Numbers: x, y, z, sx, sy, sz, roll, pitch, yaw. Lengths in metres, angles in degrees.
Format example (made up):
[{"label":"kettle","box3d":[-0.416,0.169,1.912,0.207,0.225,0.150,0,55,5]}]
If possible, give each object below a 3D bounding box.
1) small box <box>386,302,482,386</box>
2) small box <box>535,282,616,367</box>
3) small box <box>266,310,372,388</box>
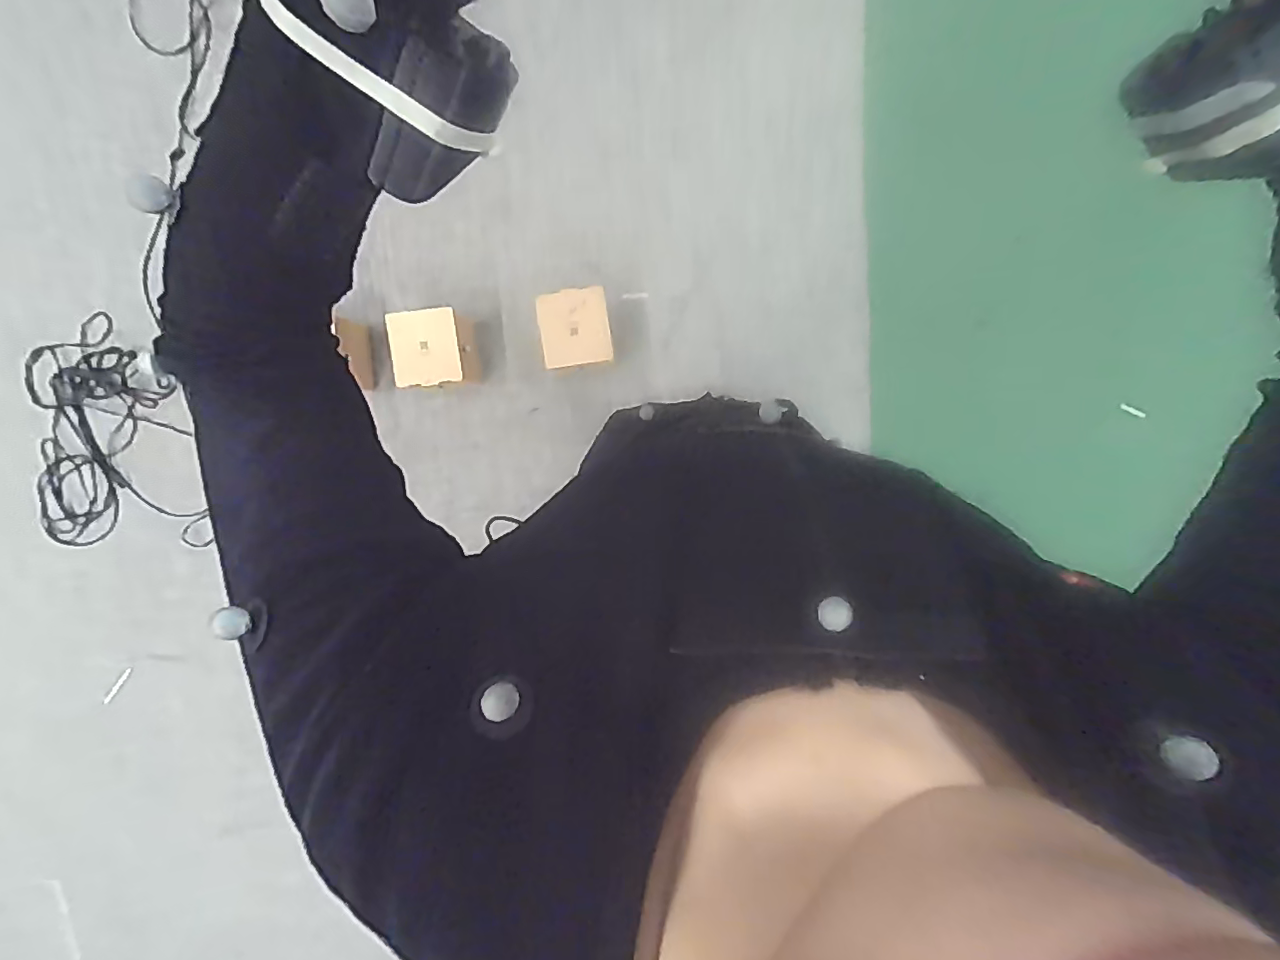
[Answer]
[{"label":"small box","box3d":[-0.512,-0.337,1.365,0.168,0.176,0.179,-6,98,2]},{"label":"small box","box3d":[-0.155,-0.381,1.353,0.168,0.176,0.179,-8,97,1]},{"label":"small box","box3d":[-0.802,-0.325,1.369,0.168,0.176,0.179,-1,96,1]}]
